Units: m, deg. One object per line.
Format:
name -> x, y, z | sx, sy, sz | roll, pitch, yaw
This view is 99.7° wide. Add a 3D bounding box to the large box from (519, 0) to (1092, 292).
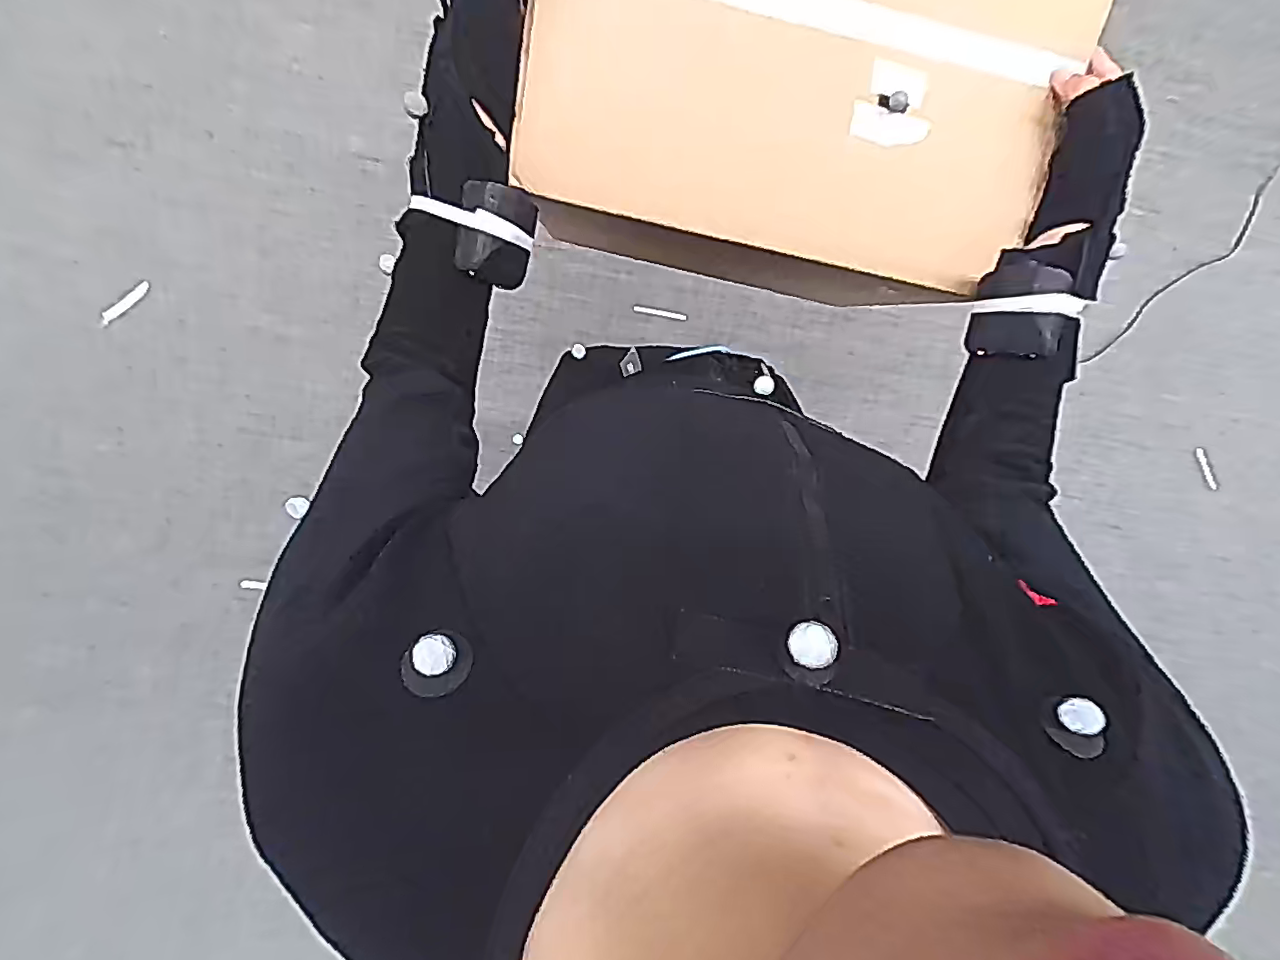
large box -> 0.116, -0.384, 0.532 | 0.408, 0.320, 0.320 | 10, 108, -7
